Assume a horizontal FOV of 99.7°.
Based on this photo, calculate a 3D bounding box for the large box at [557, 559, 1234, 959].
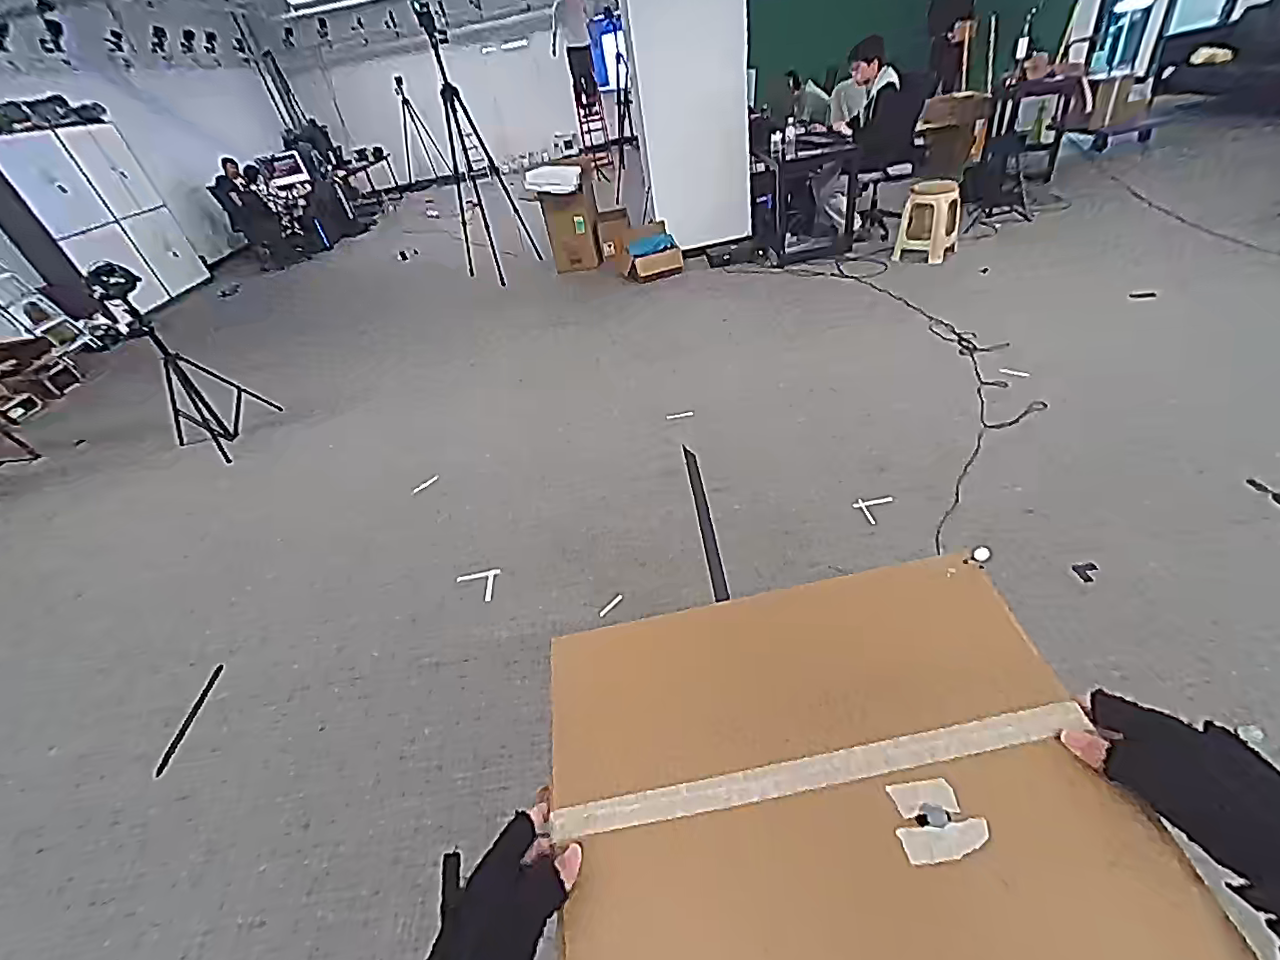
[{"bbox_3d":[0.158,0.328,0.525,0.408,0.320,0.320,-13,46,1],"label":"large box"}]
